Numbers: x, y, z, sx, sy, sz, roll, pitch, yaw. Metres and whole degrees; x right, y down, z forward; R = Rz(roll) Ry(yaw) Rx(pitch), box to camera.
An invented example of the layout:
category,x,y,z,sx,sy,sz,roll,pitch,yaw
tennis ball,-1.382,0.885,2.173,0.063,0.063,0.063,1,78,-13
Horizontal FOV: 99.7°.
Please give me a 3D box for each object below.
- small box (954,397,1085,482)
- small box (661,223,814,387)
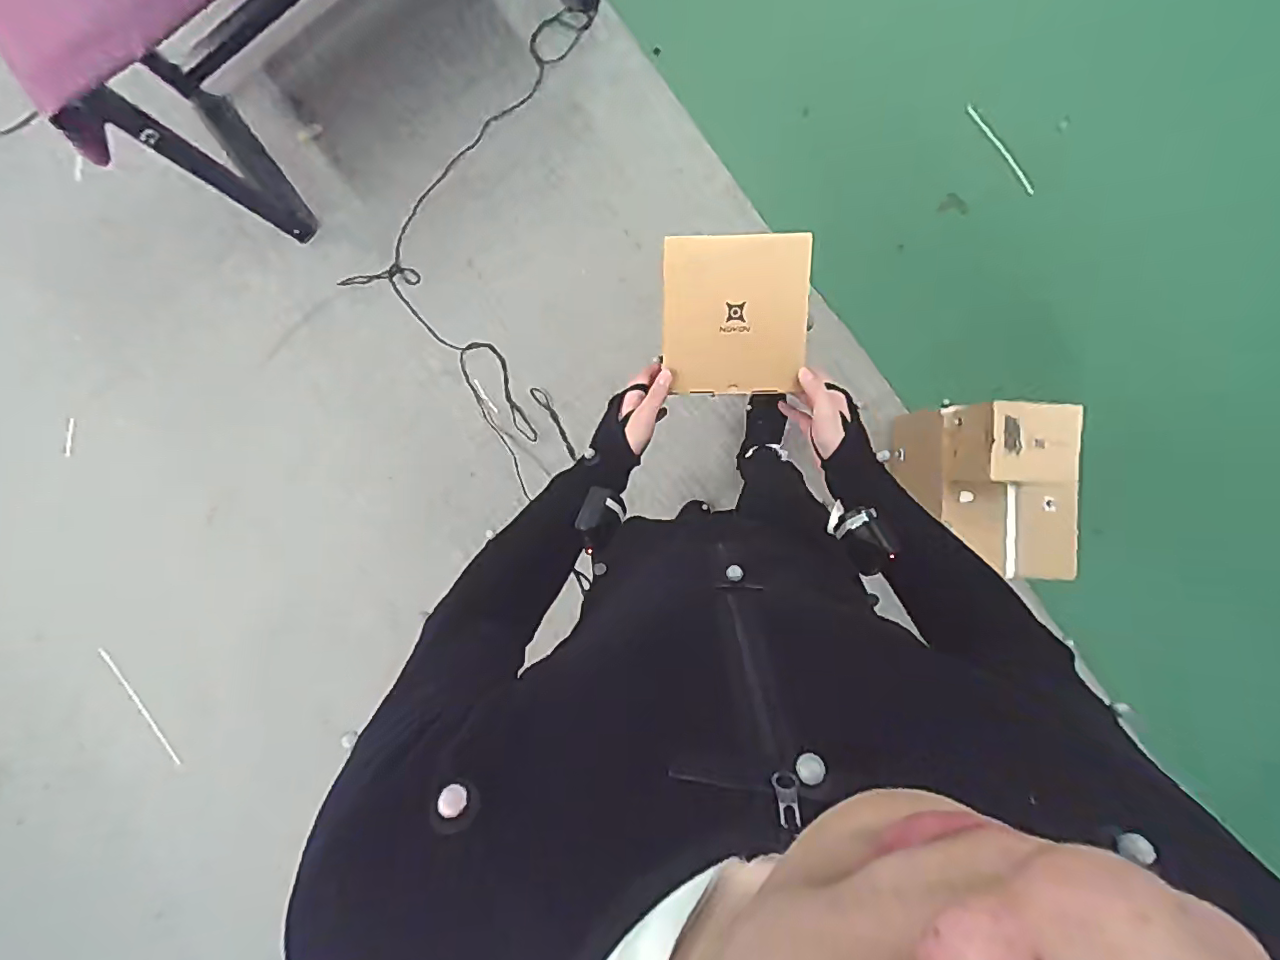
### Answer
category,x,y,z,sx,sy,sz,roll,pitch,yaw
small box,0.816,-0.083,1.181,0.179,0.176,0.168,4,92,4
small box,0.112,-0.214,0.688,0.168,0.176,0.179,-1,105,2
